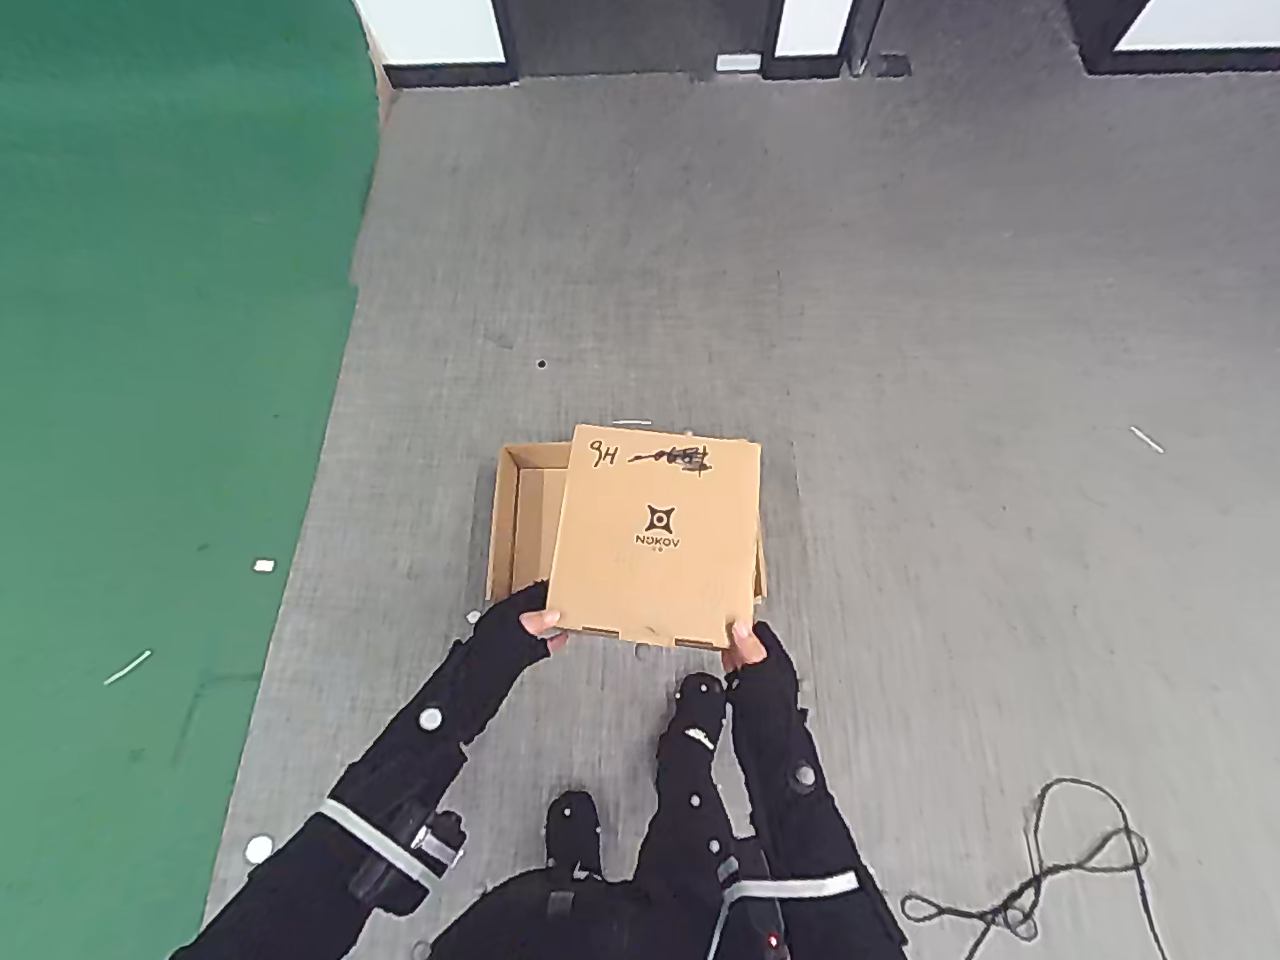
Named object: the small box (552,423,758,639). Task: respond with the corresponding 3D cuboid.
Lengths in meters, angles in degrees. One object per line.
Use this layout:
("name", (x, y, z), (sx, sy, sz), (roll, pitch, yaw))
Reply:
("small box", (0.018, 0.060, 0.528), (0.168, 0.176, 0.179), (3, 73, 2))
